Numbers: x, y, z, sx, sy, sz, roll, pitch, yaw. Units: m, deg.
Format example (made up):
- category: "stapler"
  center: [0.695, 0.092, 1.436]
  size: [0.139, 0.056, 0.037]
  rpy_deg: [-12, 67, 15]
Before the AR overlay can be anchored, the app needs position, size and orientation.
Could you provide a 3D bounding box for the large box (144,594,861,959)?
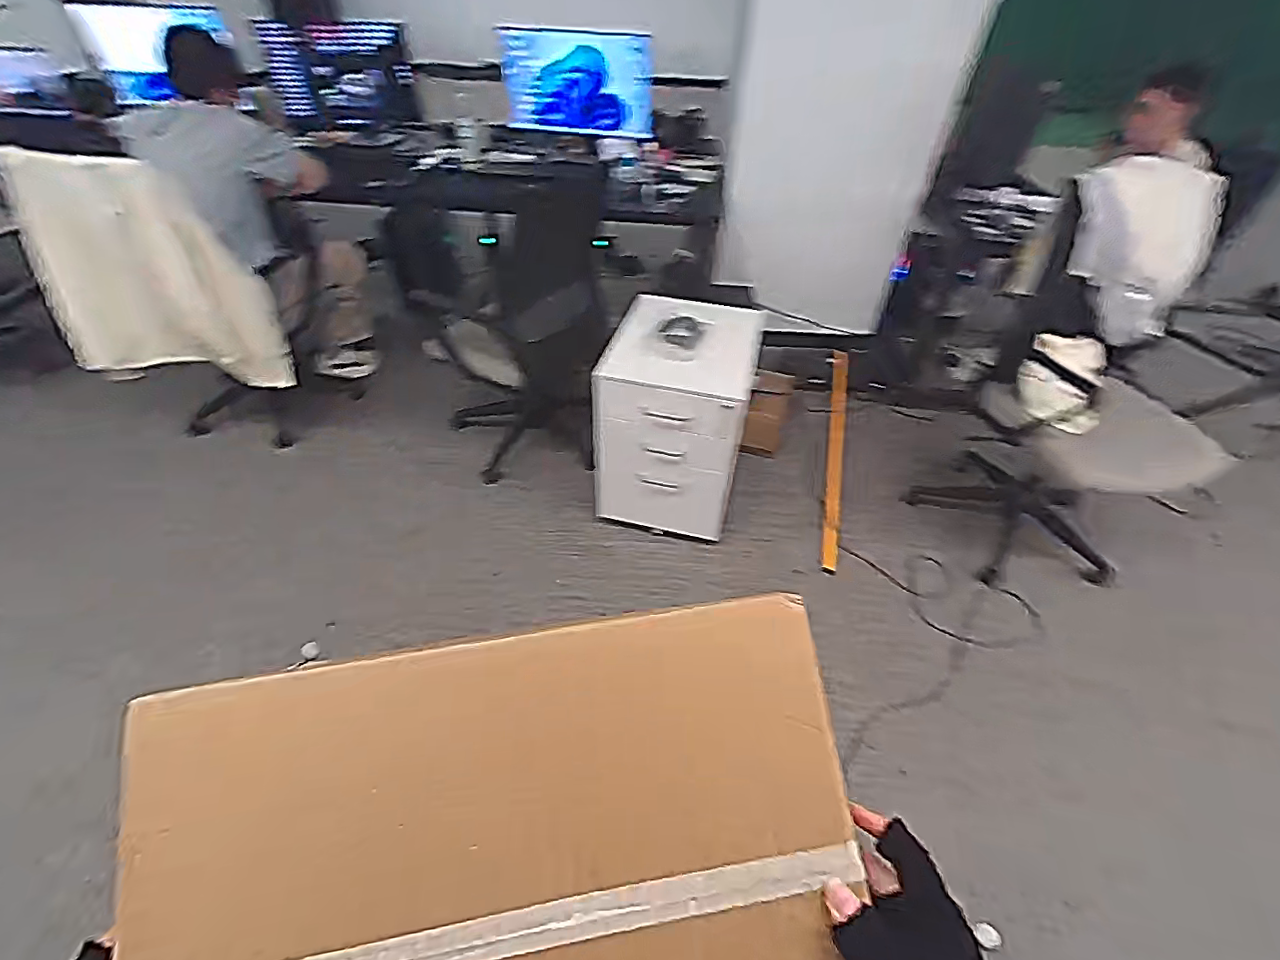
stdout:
- category: "large box"
  center: [-0.085, 0.290, 0.454]
  size: [0.408, 0.320, 0.320]
  rpy_deg: [-8, 78, -6]
